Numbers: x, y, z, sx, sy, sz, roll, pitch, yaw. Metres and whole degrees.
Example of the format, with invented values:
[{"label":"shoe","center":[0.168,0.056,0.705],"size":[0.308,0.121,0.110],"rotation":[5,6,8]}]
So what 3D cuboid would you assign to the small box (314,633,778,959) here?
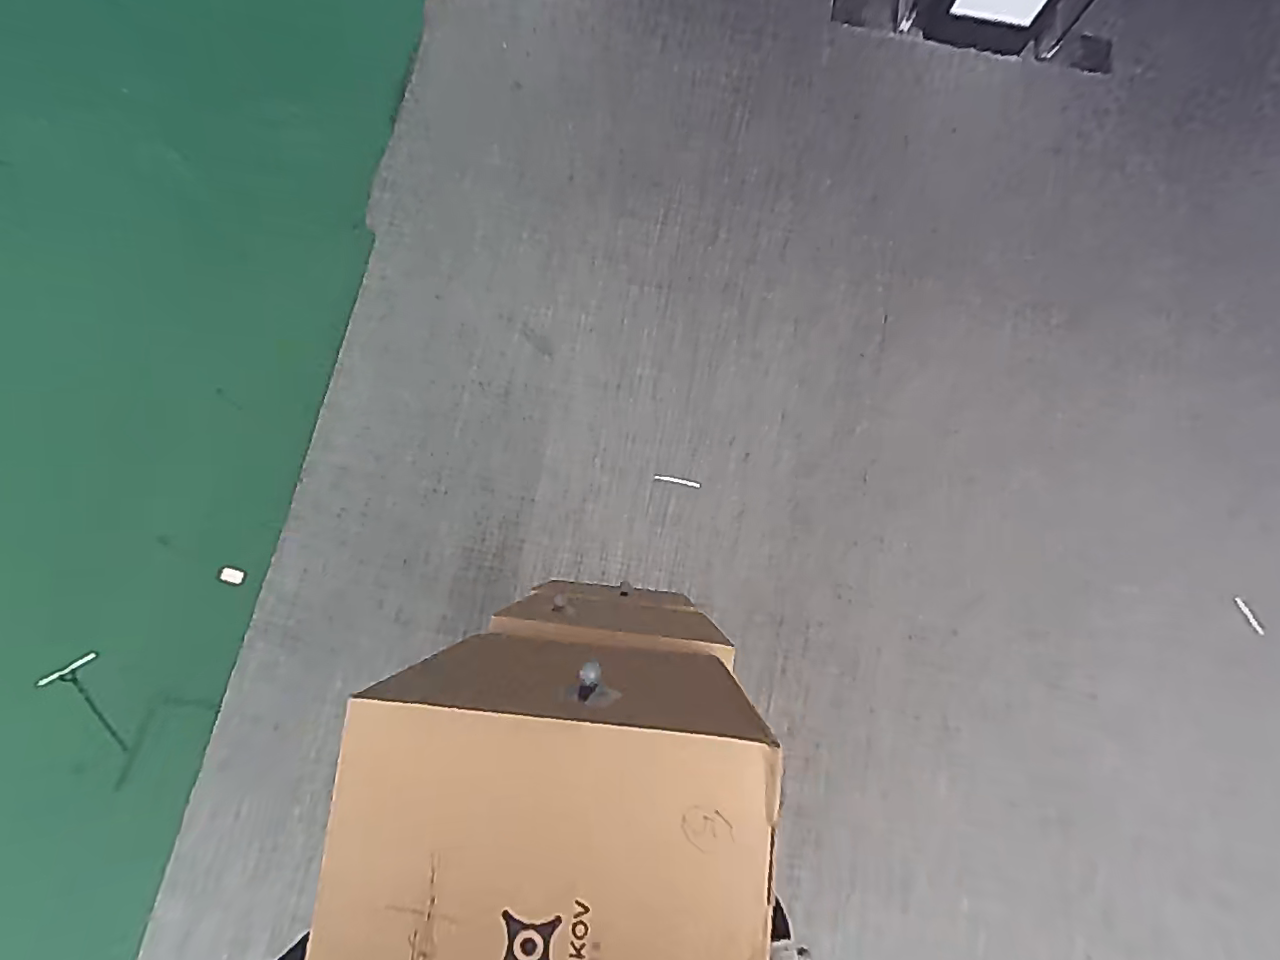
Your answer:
[{"label":"small box","center":[-0.038,0.183,0.291],"size":[0.179,0.176,0.168],"rotation":[6,82,2]}]
